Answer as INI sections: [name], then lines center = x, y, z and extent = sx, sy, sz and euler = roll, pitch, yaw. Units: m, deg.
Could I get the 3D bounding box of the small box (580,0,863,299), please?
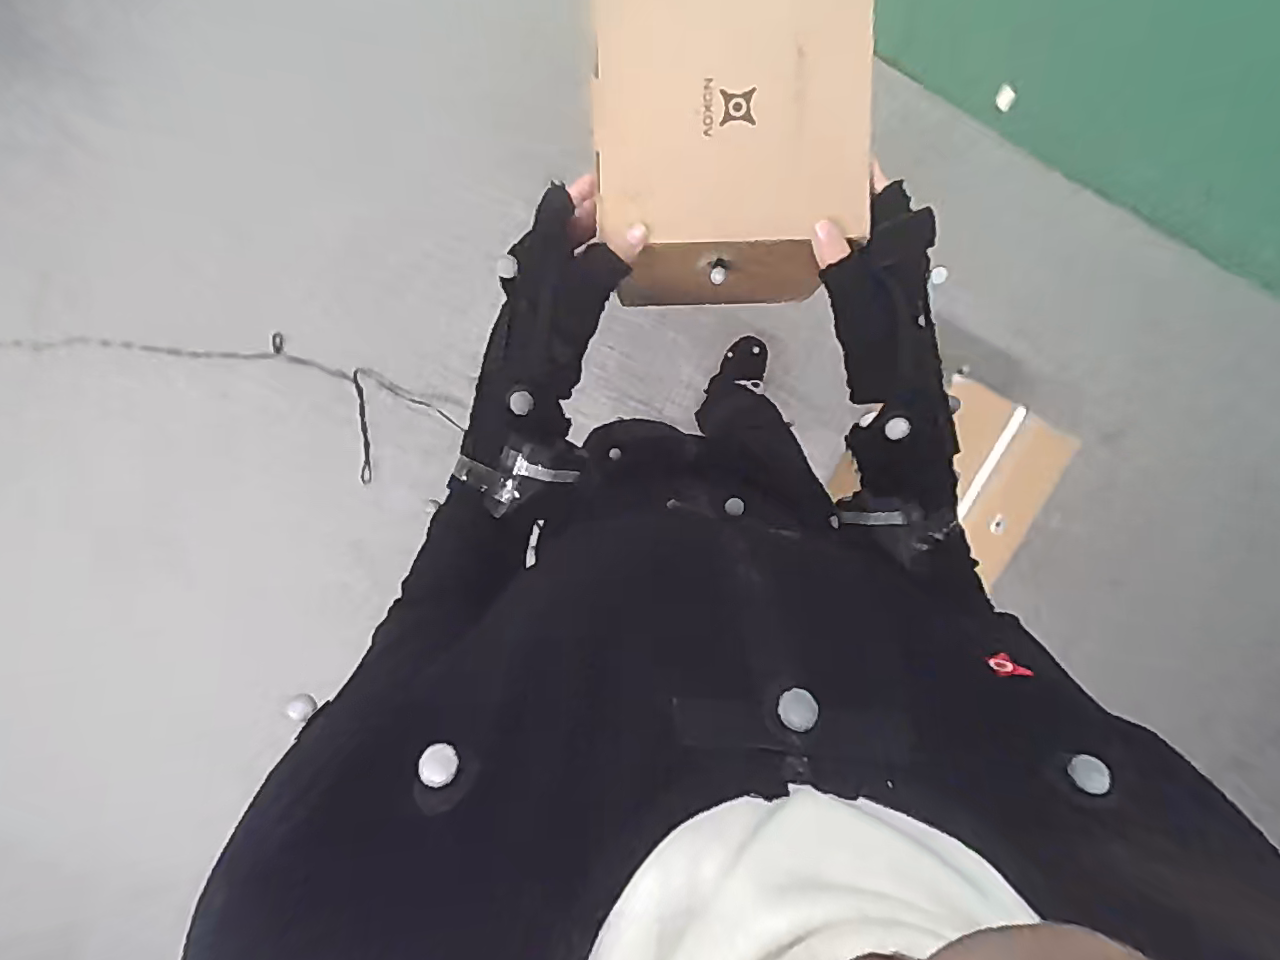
[small box]
center = 0.057, -0.246, 0.421
extent = 0.179, 0.176, 0.168
euler = -3, 95, 4
